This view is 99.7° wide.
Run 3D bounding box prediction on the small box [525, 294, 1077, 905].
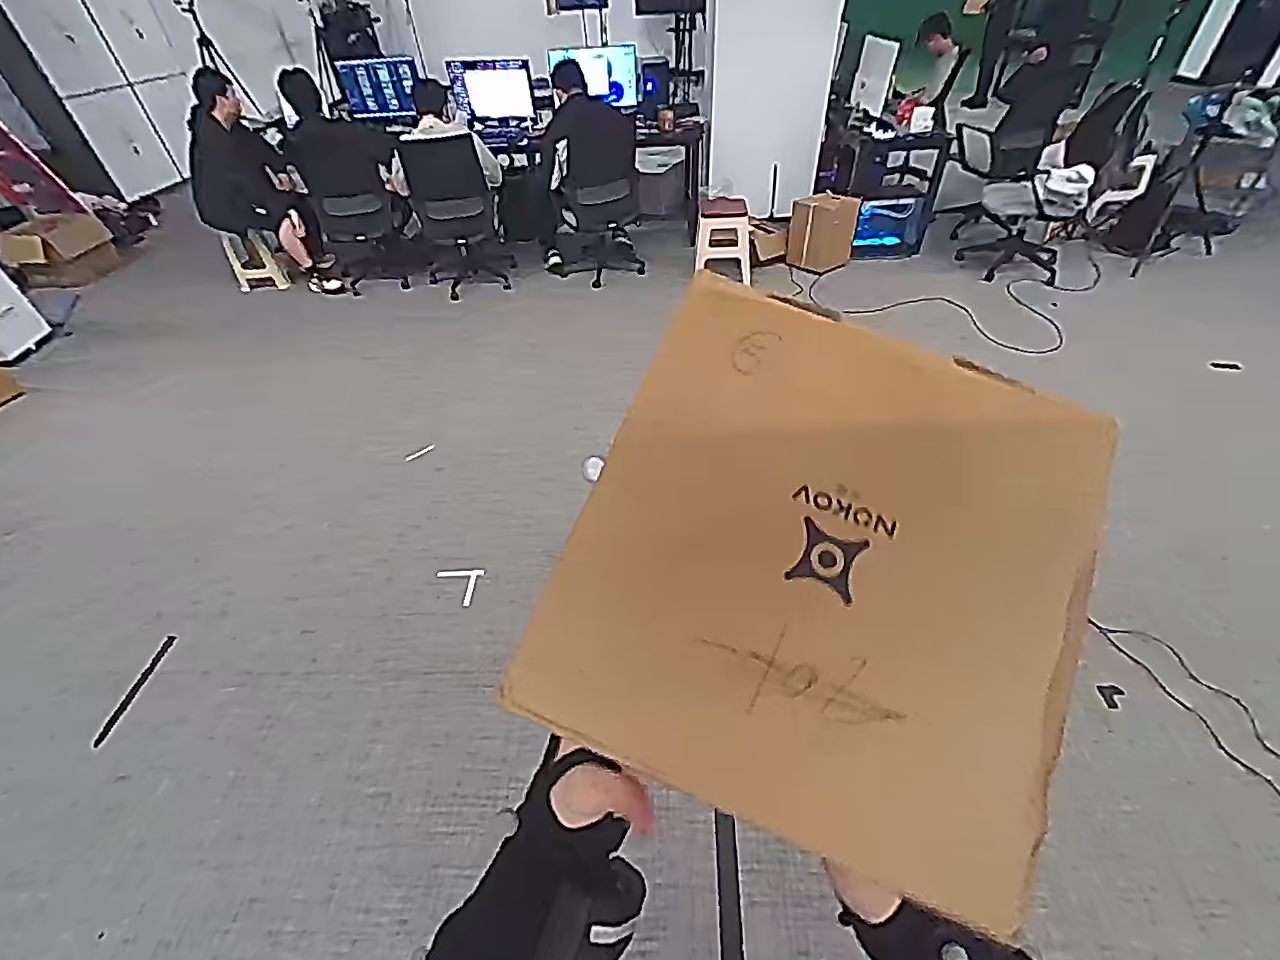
[{"bbox_3d":[0.064,0.048,0.271,0.168,0.176,0.179,20,75,6],"label":"small box"}]
